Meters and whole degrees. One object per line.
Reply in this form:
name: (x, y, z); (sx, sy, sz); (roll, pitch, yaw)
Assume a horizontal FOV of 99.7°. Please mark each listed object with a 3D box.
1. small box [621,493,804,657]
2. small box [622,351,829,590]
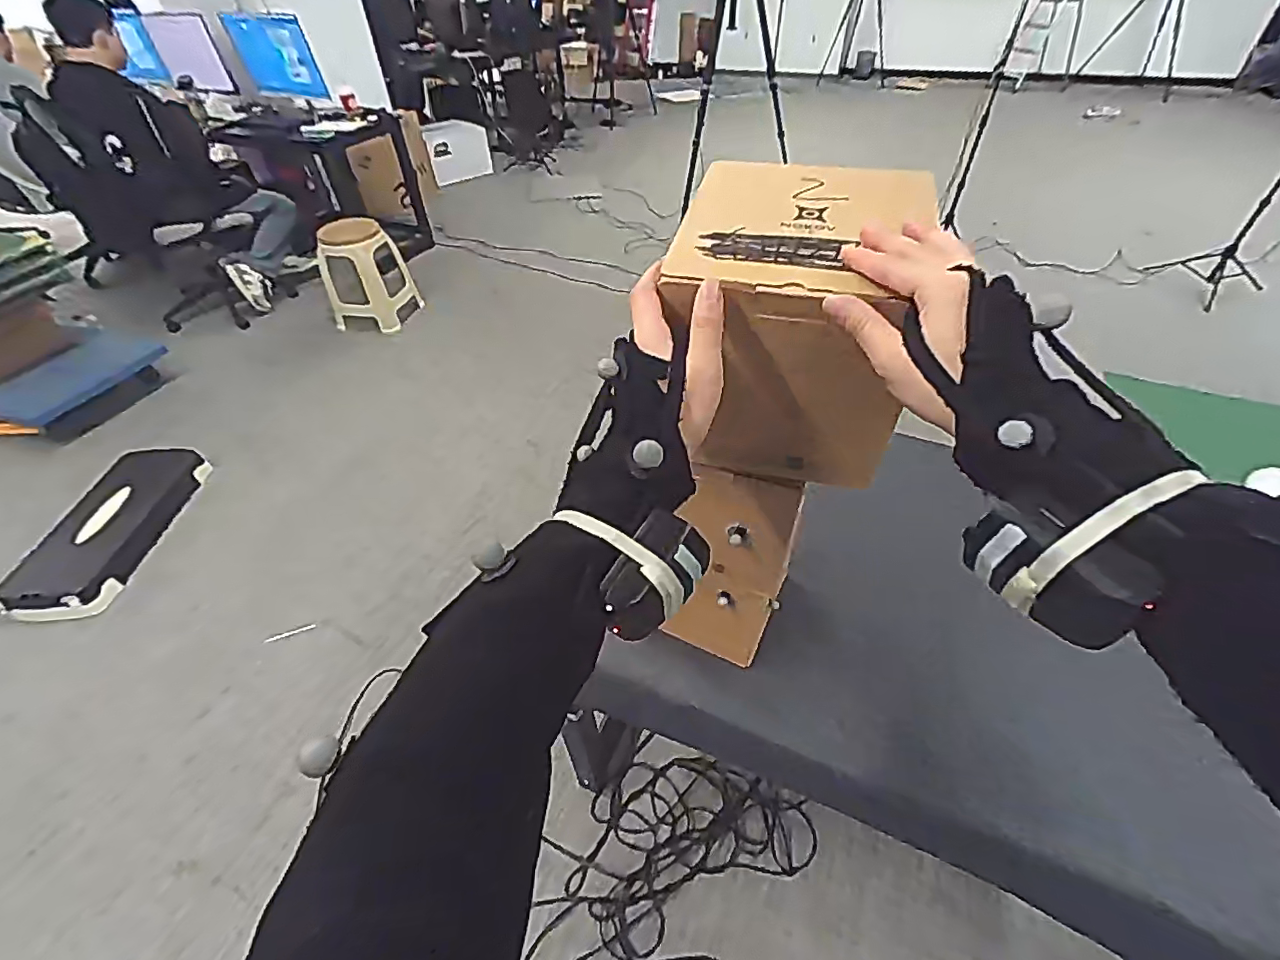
small box: (0.091, 0.100, 0.704); (0.179, 0.176, 0.168); (20, 48, 20)
small box: (0.091, -0.011, 0.585); (0.168, 0.176, 0.179); (16, 46, 15)
